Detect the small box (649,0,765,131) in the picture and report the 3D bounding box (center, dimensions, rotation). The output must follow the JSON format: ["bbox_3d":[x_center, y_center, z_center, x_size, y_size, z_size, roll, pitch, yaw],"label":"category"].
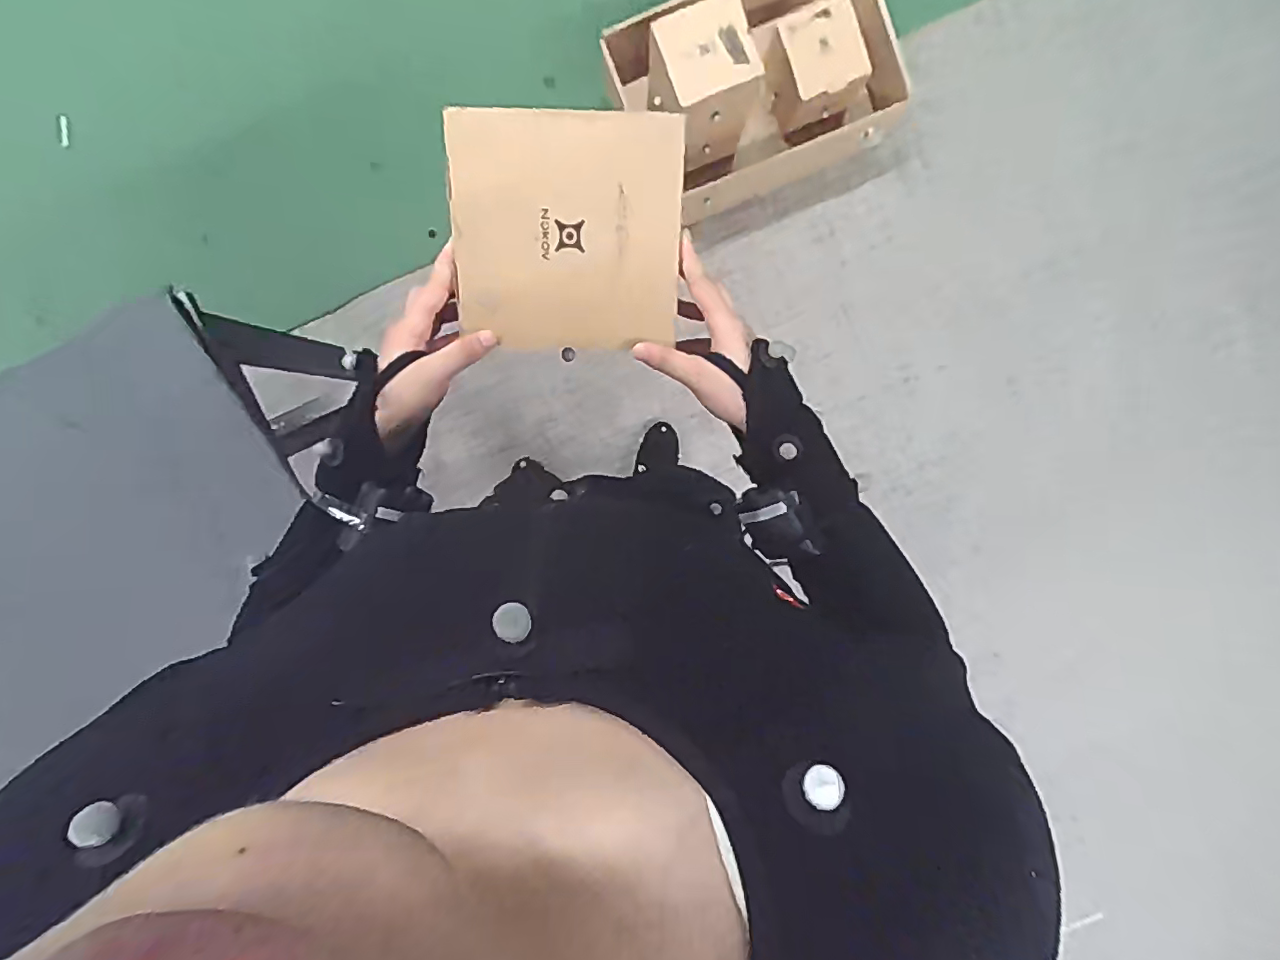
[{"bbox_3d":[0.127,-0.826,1.090,0.179,0.176,0.168,-22,96,2],"label":"small box"}]

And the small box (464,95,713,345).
[{"bbox_3d":[-0.037,-0.209,0.472,0.179,0.176,0.168,2,109,0],"label":"small box"}]

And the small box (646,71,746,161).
[{"bbox_3d":[0.122,-0.847,1.253,0.179,0.176,0.168,-23,97,1],"label":"small box"}]
